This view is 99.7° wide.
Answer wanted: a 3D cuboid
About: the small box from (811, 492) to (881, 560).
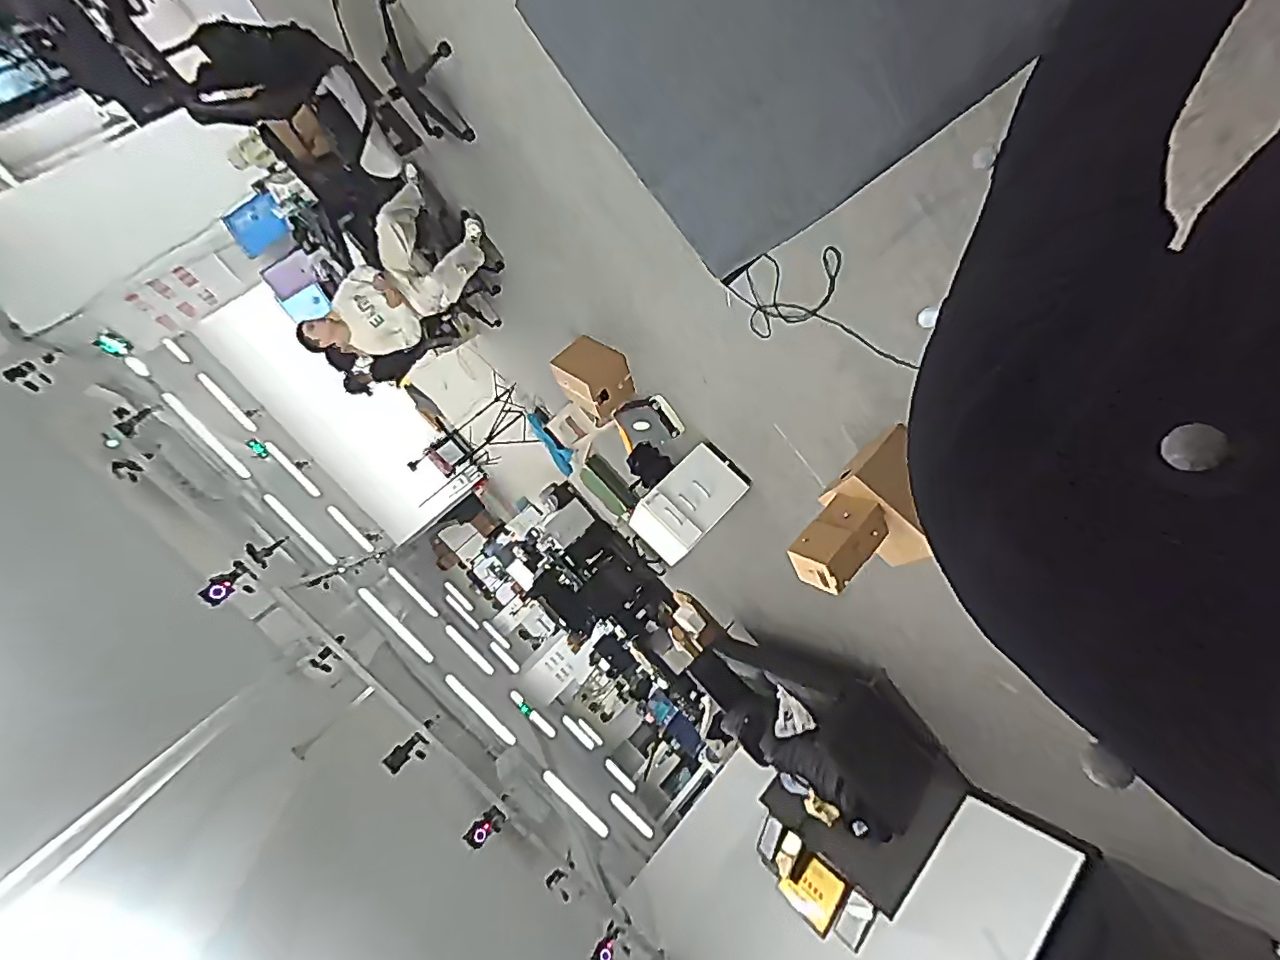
[{"bbox_3d":[0.783,0.167,2.032,0.179,0.176,0.168,17,146,52],"label":"small box"}]
